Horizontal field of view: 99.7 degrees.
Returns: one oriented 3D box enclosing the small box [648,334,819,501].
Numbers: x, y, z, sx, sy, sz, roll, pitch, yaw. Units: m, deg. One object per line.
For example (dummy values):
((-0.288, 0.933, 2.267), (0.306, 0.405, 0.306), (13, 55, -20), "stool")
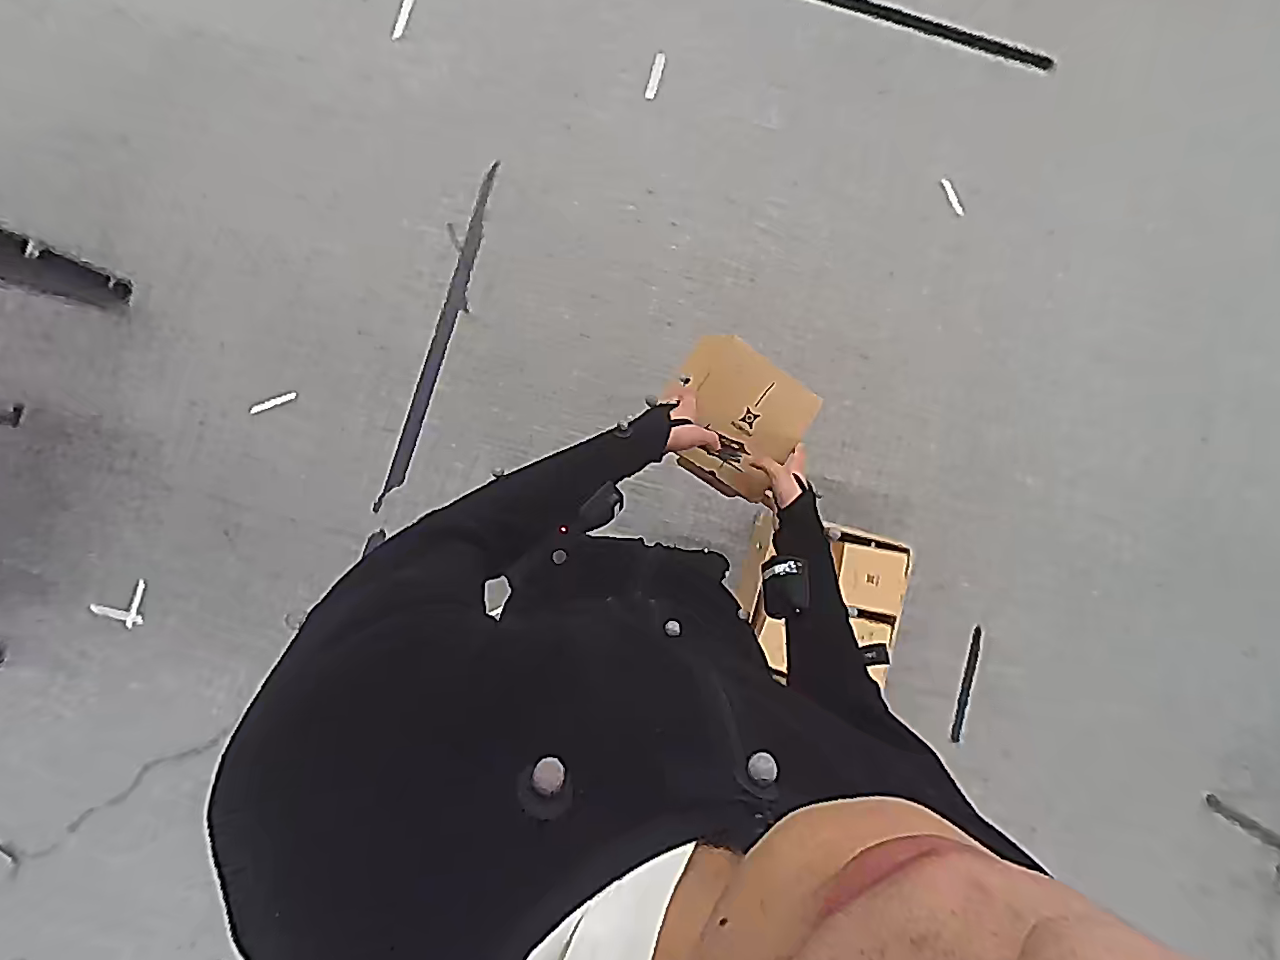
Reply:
((0.126, -0.099, 0.815), (0.168, 0.176, 0.179), (31, 97, -14), "small box")
